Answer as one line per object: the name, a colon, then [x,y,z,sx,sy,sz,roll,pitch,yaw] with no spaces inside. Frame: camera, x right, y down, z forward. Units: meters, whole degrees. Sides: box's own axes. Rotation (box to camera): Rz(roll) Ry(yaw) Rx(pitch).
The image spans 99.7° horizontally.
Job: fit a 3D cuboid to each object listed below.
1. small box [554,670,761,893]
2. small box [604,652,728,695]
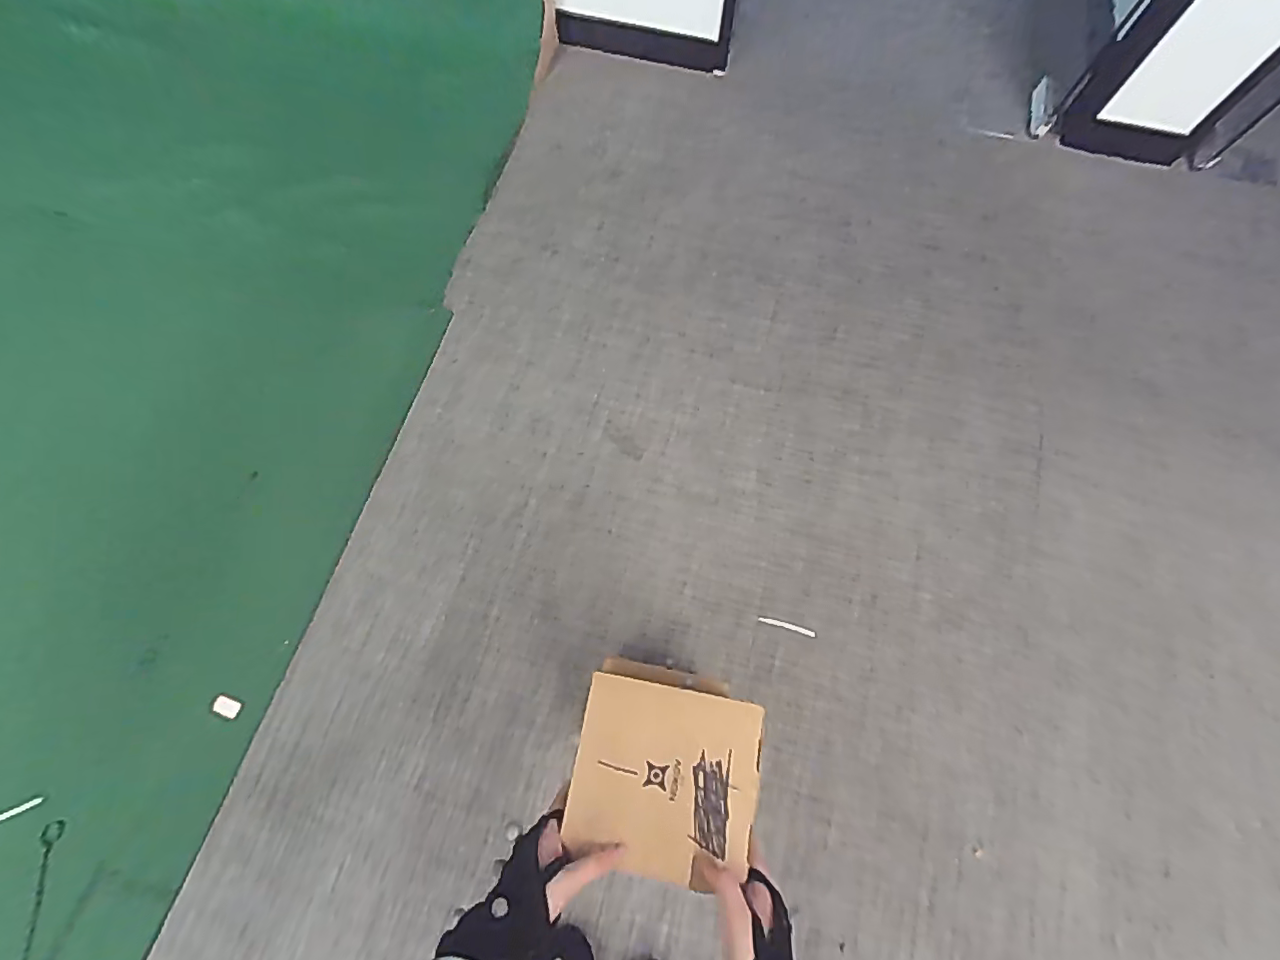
small box: [0.020,0.310,0.594,0.179,0.176,0.168,10,70,4]
small box: [0.017,0.348,0.758,0.168,0.176,0.179,11,73,4]
